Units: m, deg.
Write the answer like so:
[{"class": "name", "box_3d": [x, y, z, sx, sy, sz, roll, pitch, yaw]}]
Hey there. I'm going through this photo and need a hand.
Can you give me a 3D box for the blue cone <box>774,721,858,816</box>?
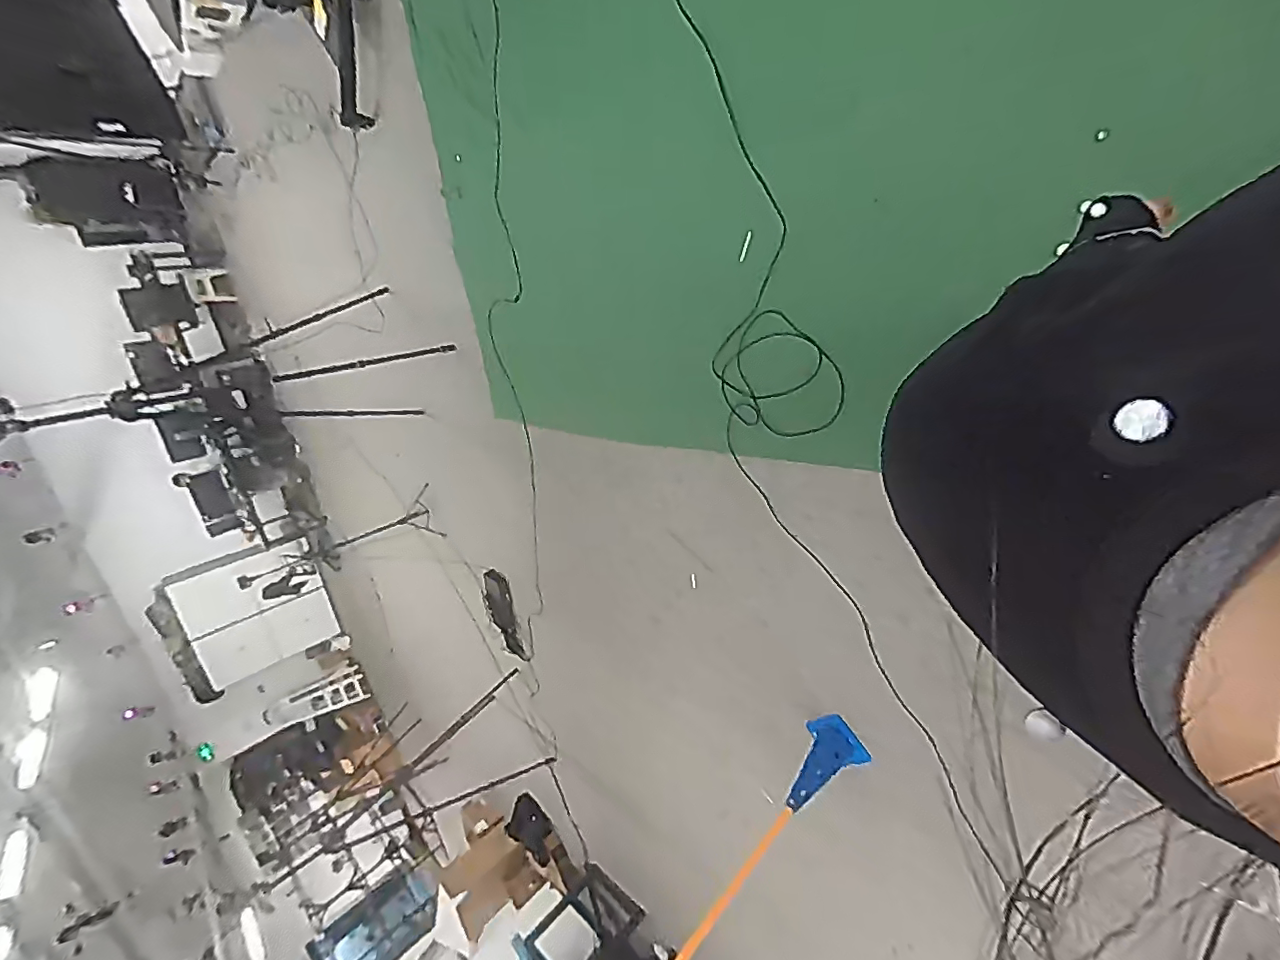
[{"class": "blue cone", "box_3d": [0.612, 1.083, 1.973, 0.192, 0.380, 0.193, 51, 140, 14]}]
